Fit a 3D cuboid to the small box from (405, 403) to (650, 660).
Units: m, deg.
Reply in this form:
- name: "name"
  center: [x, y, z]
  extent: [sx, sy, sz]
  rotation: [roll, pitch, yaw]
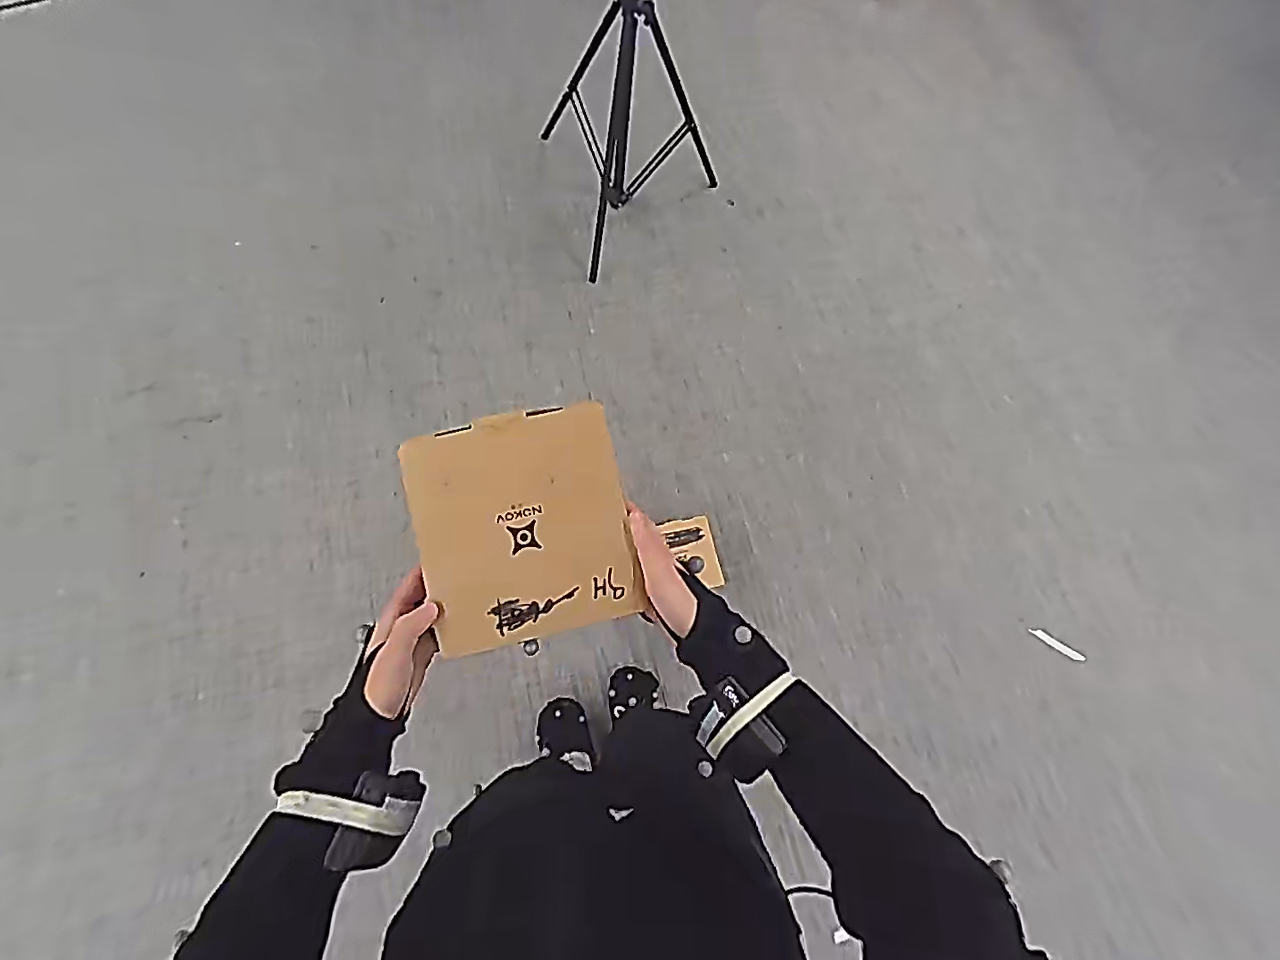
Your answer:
- name: "small box"
  center: [-0.095, 0.046, 0.503]
  extent: [0.168, 0.176, 0.179]
  rotation: [-13, 85, -5]
